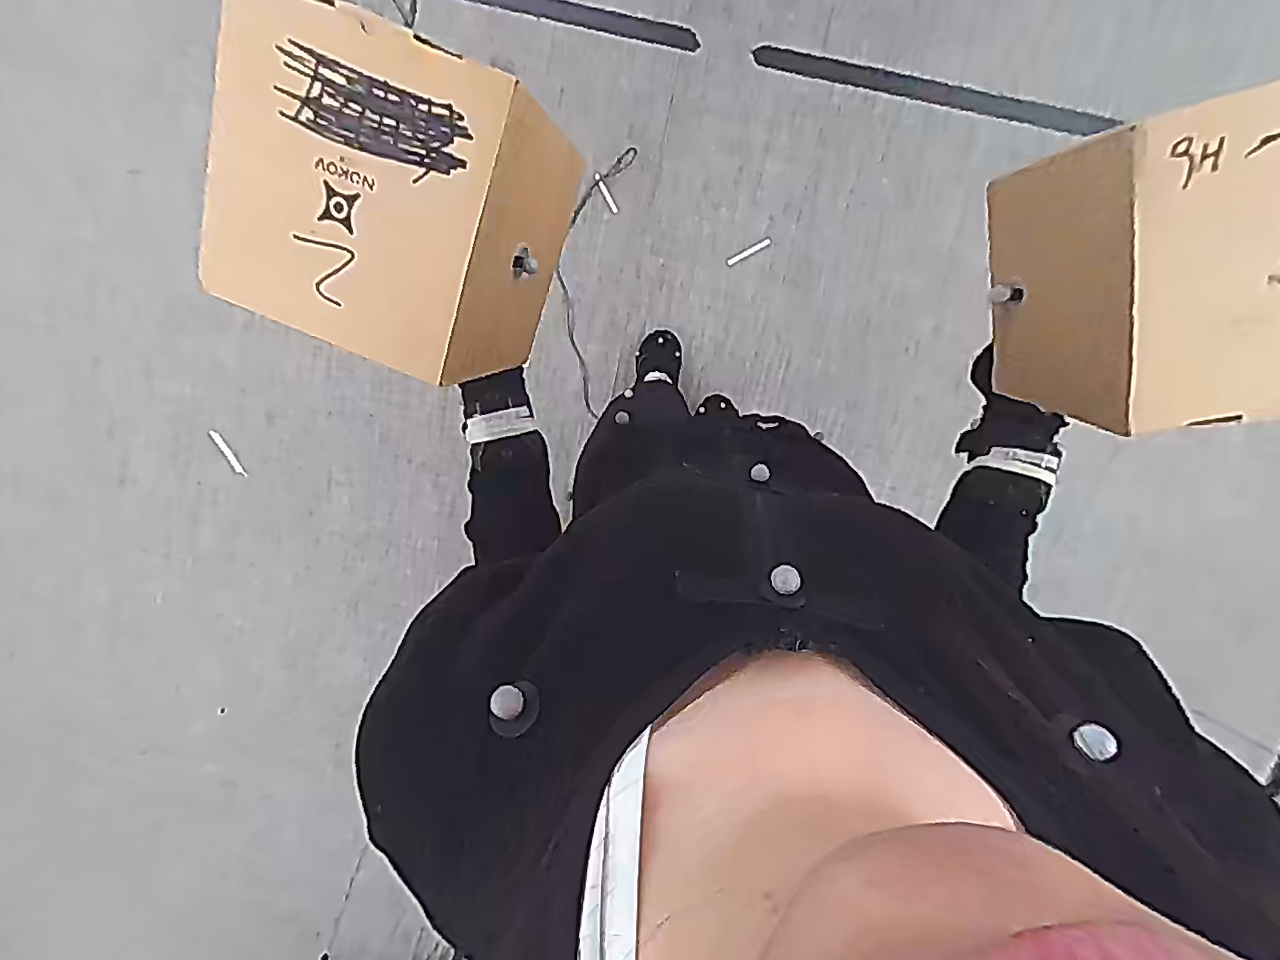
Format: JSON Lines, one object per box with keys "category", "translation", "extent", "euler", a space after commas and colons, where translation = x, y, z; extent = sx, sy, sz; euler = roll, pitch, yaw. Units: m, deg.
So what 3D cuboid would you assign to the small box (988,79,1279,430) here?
{"category": "small box", "translation": [0.364, -0.152, 0.368], "extent": [0.168, 0.176, 0.179], "euler": [-11, 108, 10]}
